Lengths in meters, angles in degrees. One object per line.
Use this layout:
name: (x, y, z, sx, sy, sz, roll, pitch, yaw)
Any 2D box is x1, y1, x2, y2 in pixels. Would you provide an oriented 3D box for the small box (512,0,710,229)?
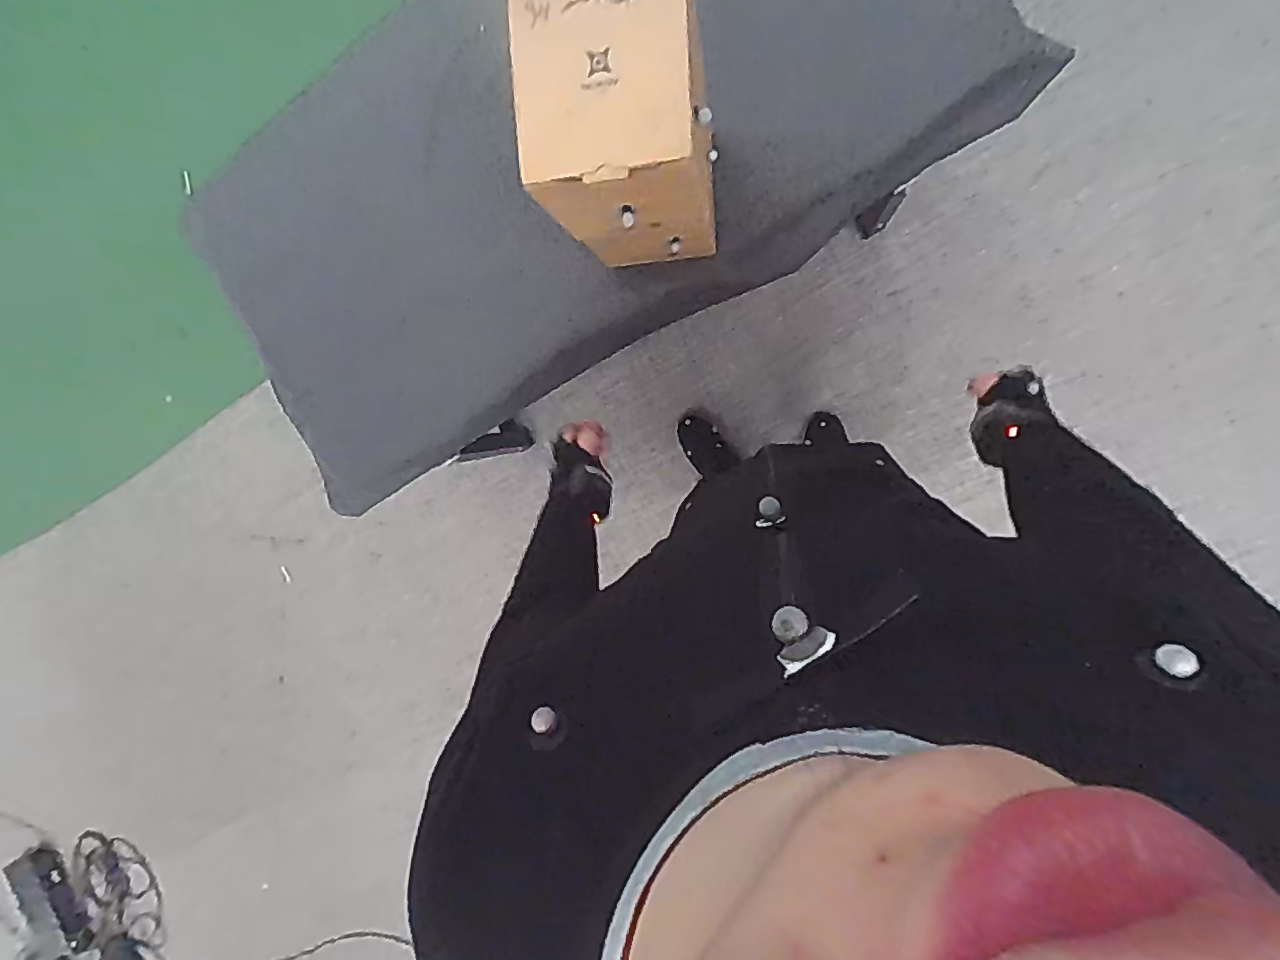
small box: (-0.017, -0.376, 0.562, 0.168, 0.176, 0.179, -2, 98, 12)

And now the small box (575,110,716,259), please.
small box: (0.011, -0.407, 0.721, 0.168, 0.176, 0.179, -2, 96, 12)
